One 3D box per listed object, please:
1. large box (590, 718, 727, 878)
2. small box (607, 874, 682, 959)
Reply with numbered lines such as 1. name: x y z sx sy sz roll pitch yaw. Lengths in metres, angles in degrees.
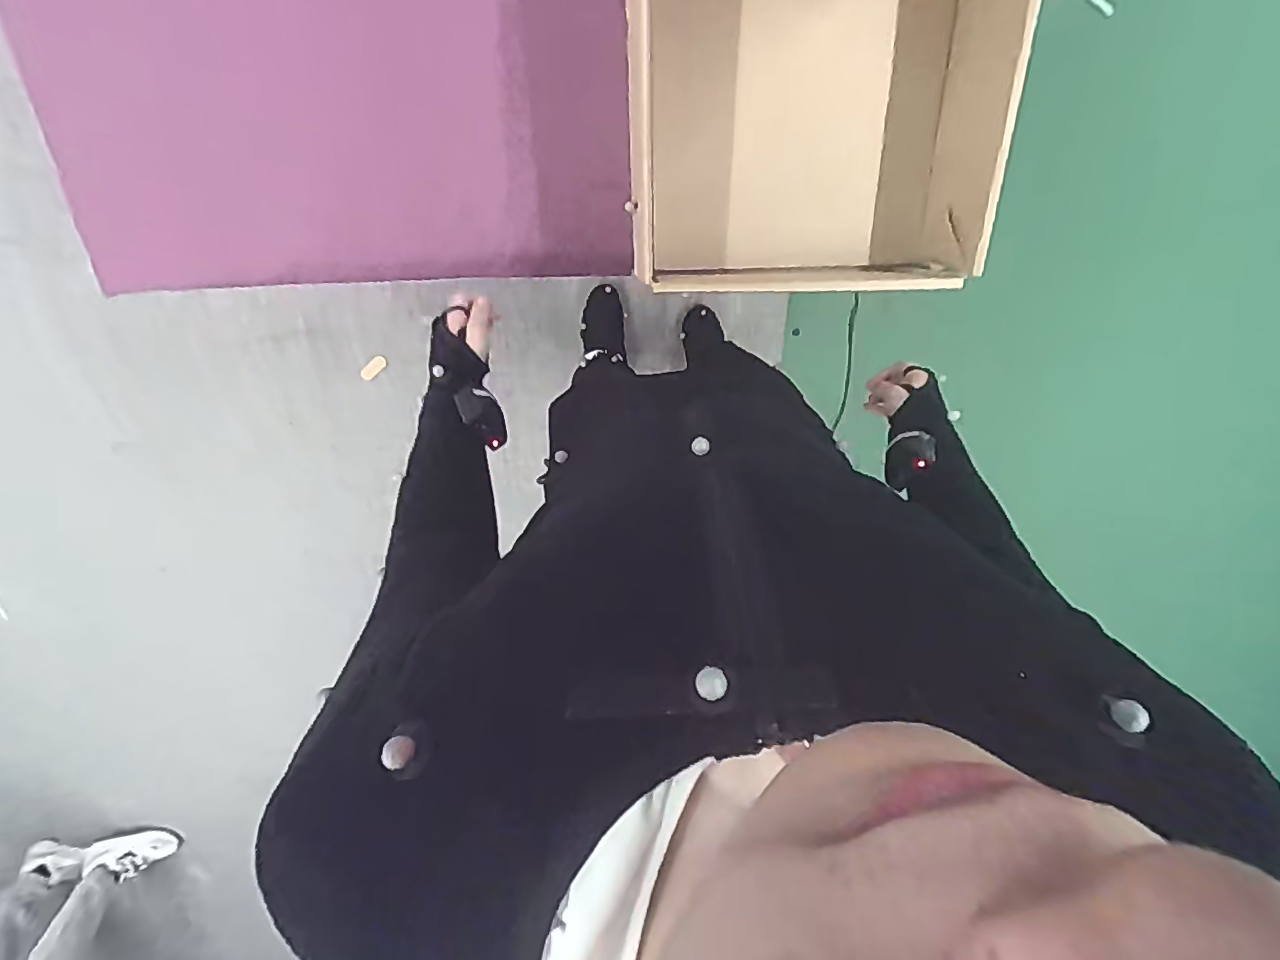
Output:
1. large box: 0.059 1.193 2.047 0.408 0.320 0.320 -32 112 9
2. small box: 0.012 1.375 1.674 0.179 0.176 0.168 -27 112 8
